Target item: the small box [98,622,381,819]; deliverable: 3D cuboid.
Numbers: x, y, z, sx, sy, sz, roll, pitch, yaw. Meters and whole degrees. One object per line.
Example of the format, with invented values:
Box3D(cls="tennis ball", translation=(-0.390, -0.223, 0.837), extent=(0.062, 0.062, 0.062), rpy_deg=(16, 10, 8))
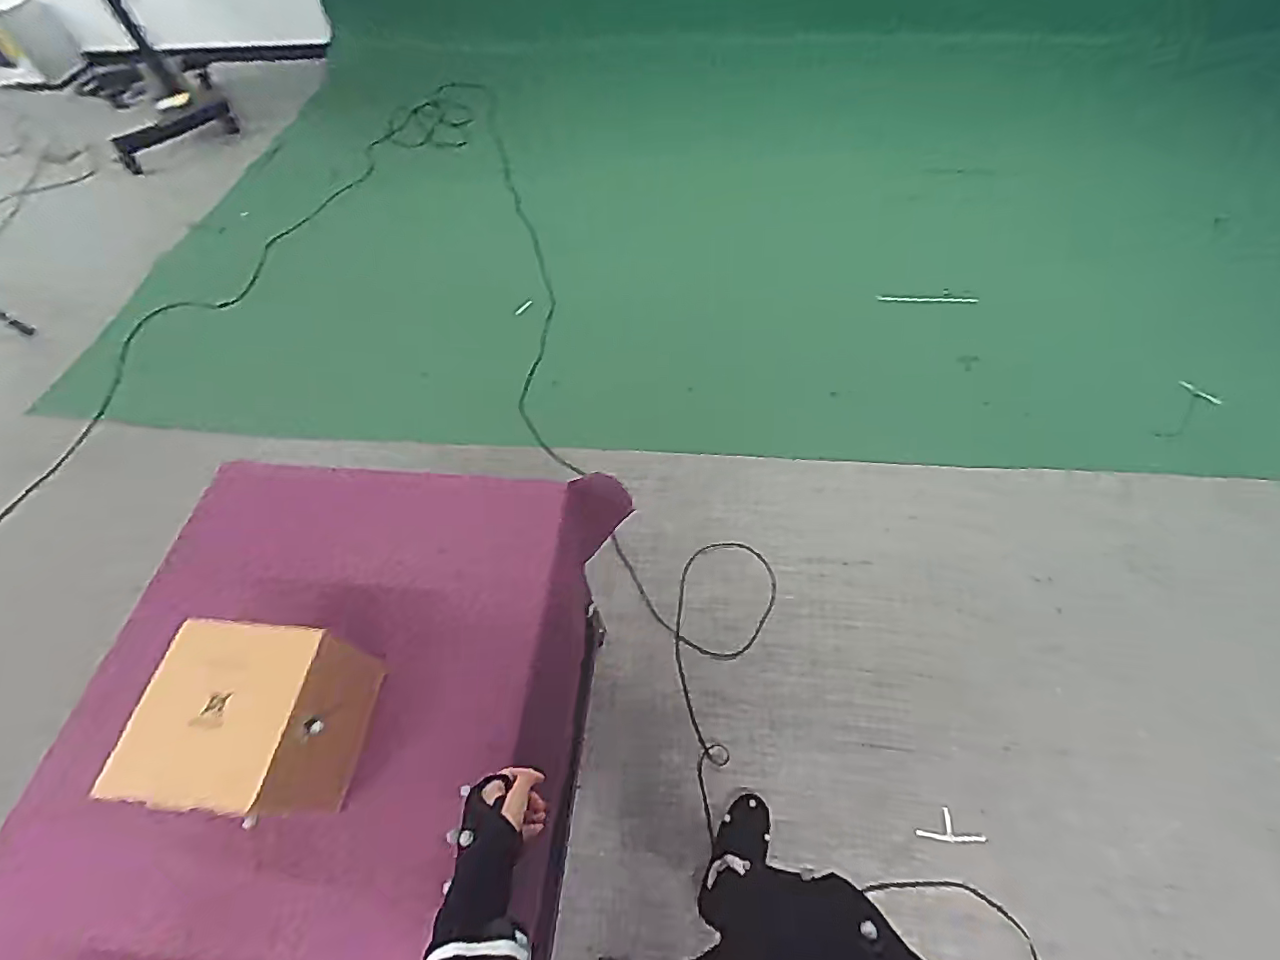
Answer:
Box3D(cls="small box", translation=(-0.433, 0.281, 0.626), extent=(0.168, 0.176, 0.179), rpy_deg=(3, 57, 5))
